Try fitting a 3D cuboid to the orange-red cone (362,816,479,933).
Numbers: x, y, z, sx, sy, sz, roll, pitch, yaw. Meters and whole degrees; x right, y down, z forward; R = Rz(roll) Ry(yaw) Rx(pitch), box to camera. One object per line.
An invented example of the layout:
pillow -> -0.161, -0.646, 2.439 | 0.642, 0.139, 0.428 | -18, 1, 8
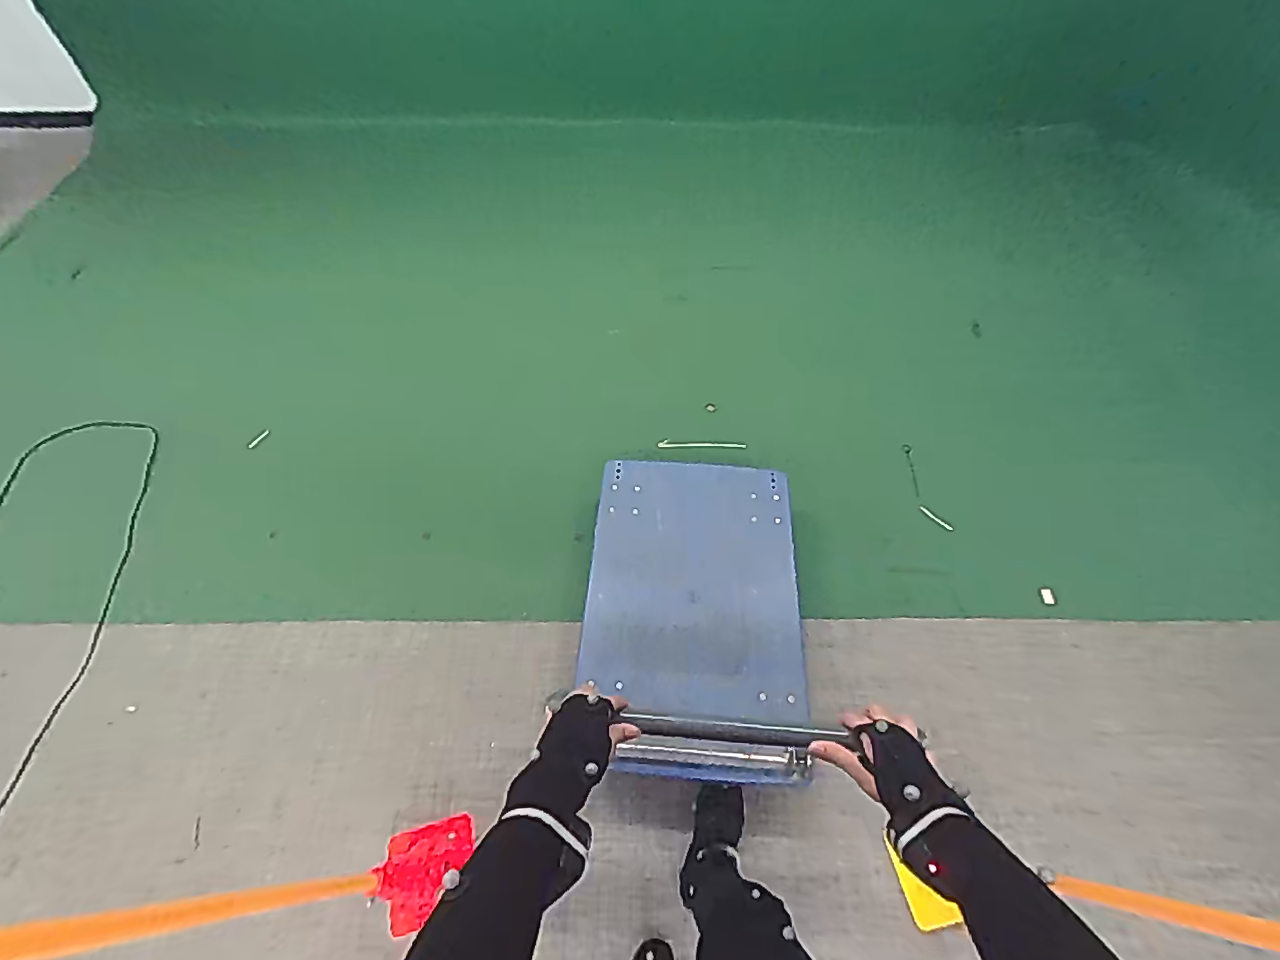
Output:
orange-red cone -> -0.483, 0.823, 1.122 | 0.199, 0.360, 0.198 | -13, 57, -7
